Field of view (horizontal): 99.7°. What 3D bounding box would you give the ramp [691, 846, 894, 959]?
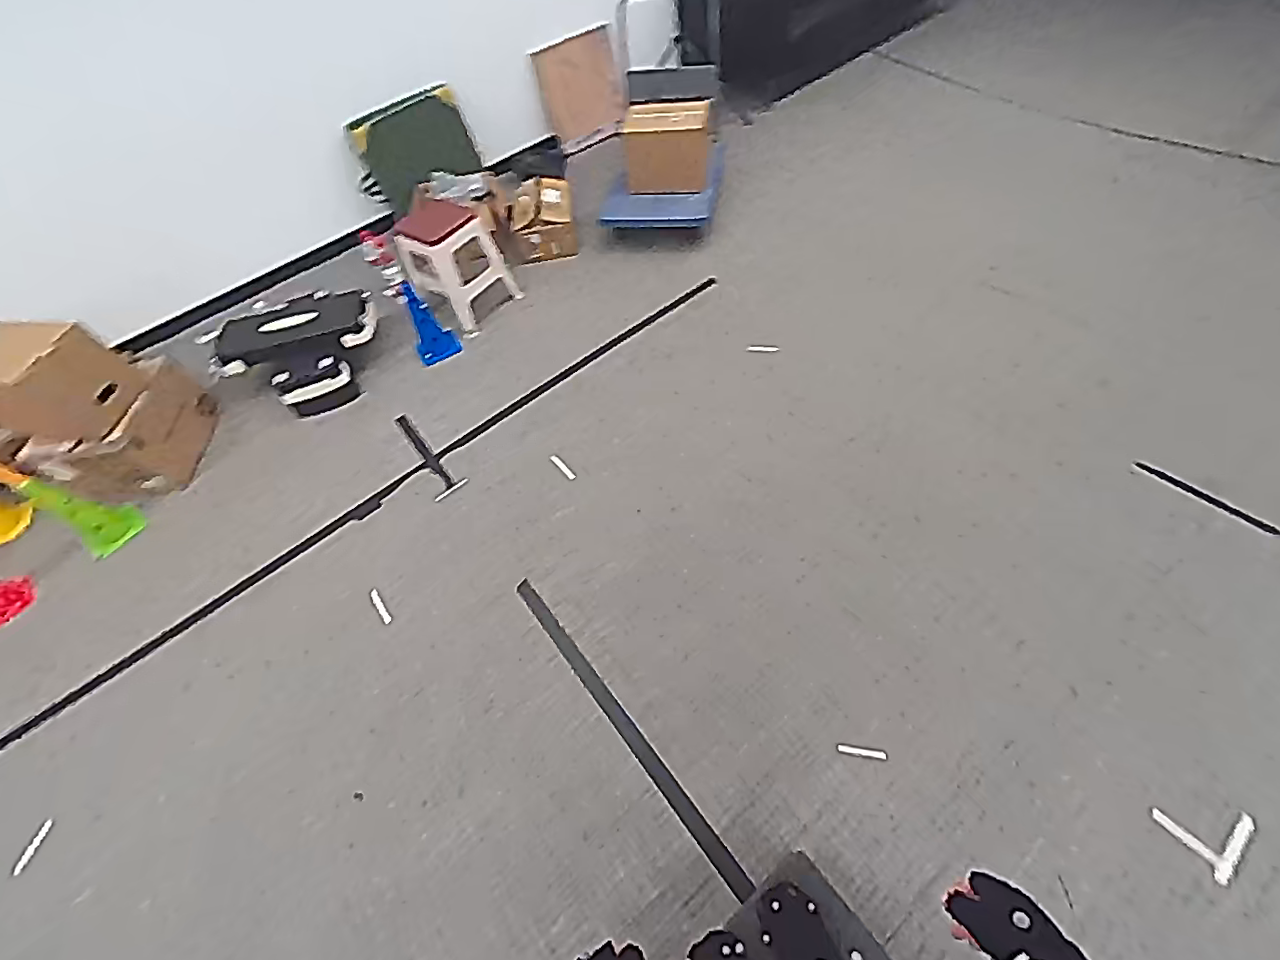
[{"bbox_3d":[0.482,1.264,0.934,0.509,0.206,0.991,-38,58,-19],"label":"ramp"}]
